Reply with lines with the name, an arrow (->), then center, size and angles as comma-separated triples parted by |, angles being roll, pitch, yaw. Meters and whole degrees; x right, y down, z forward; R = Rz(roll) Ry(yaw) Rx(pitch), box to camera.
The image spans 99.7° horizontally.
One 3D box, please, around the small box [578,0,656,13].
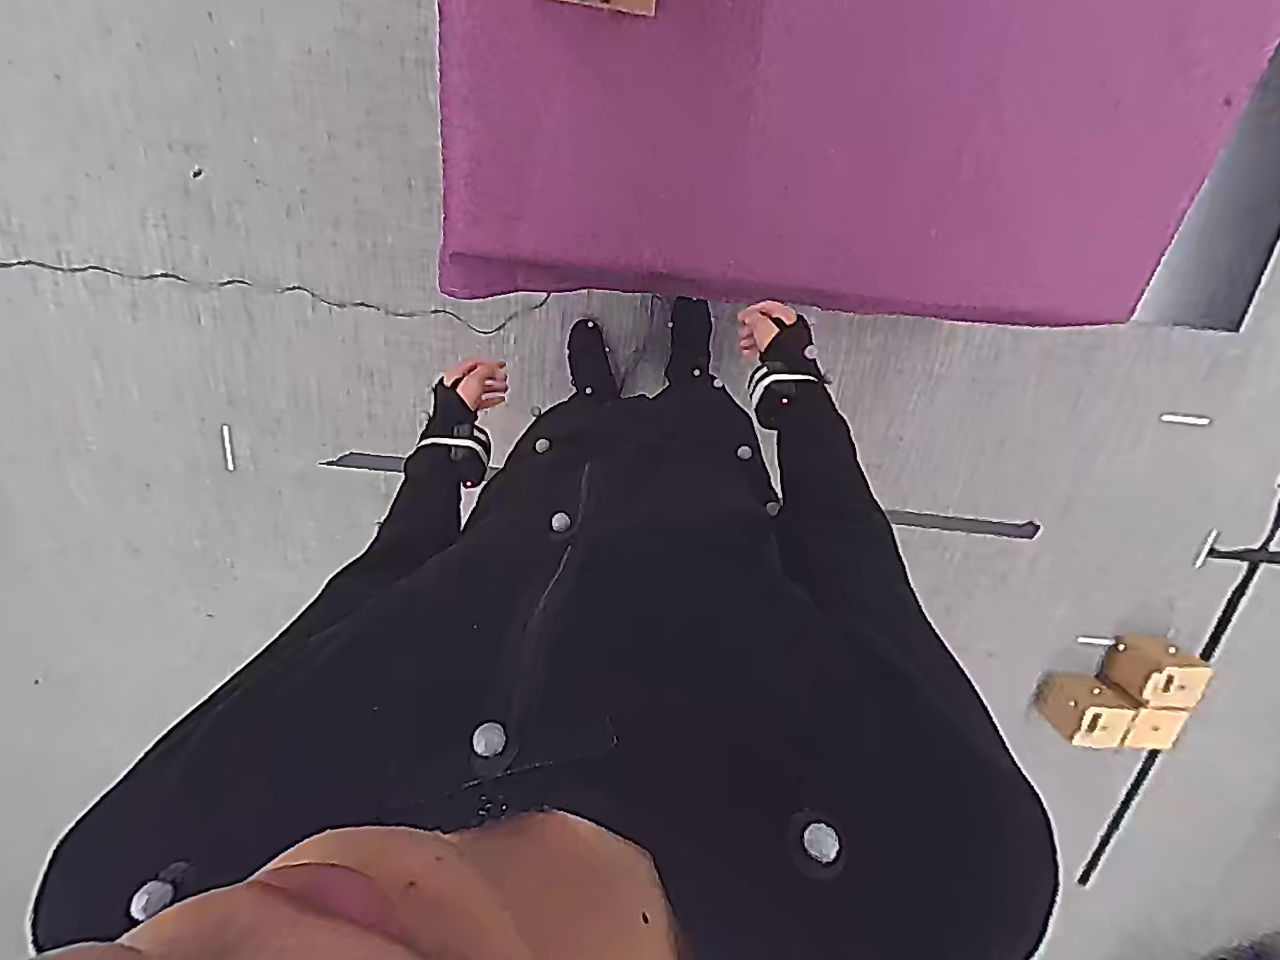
small box -> -0.048, -0.651, 0.571 | 0.168, 0.176, 0.179 | 7, 110, -4
